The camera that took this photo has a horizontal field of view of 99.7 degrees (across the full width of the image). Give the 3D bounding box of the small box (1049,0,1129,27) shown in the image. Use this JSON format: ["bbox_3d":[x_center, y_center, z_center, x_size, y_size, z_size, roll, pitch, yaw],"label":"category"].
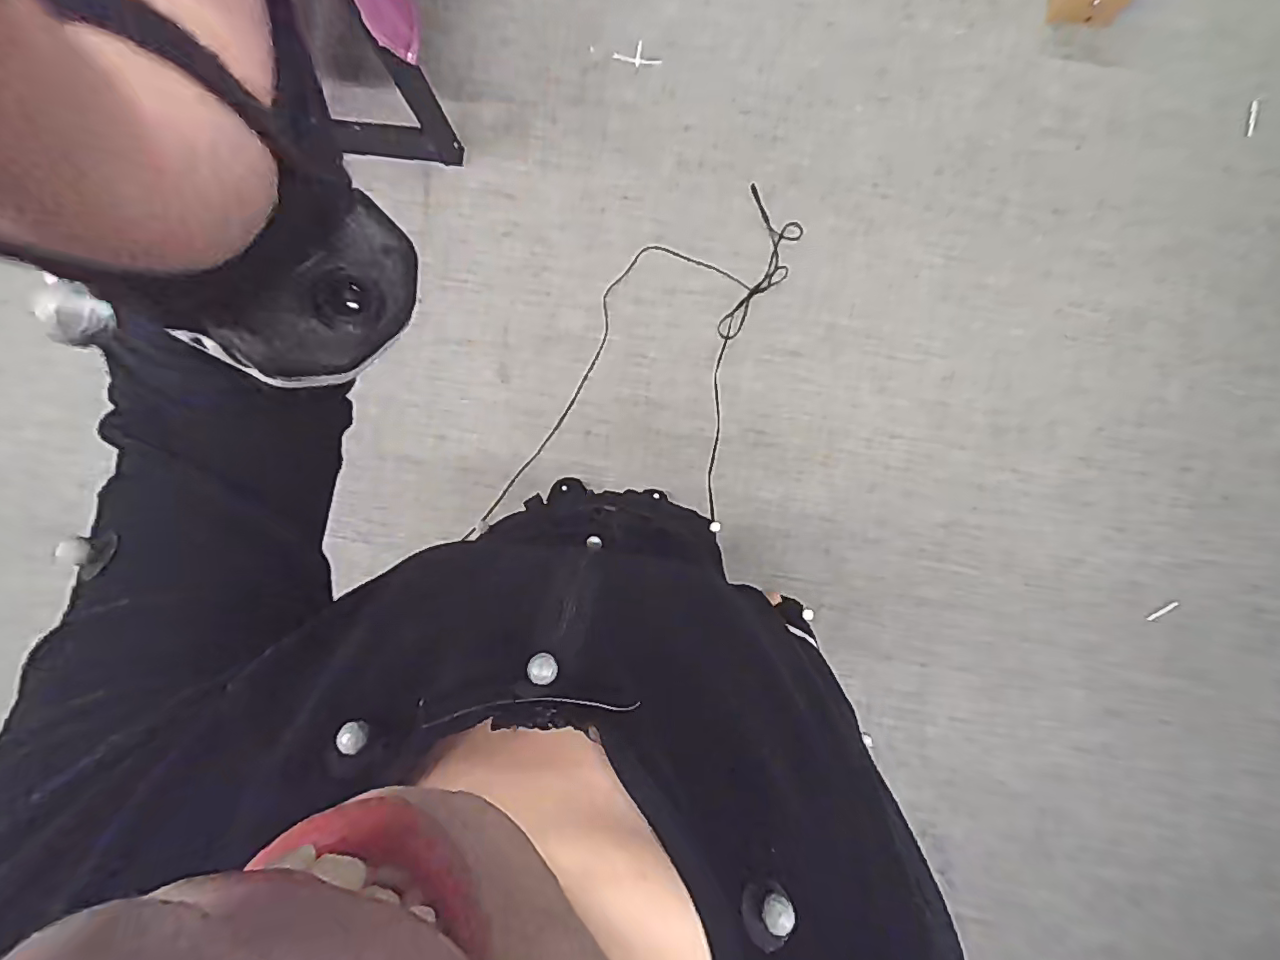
[{"bbox_3d":[1.240,-1.368,1.445,0.168,0.176,0.179,8,90,0],"label":"small box"}]
